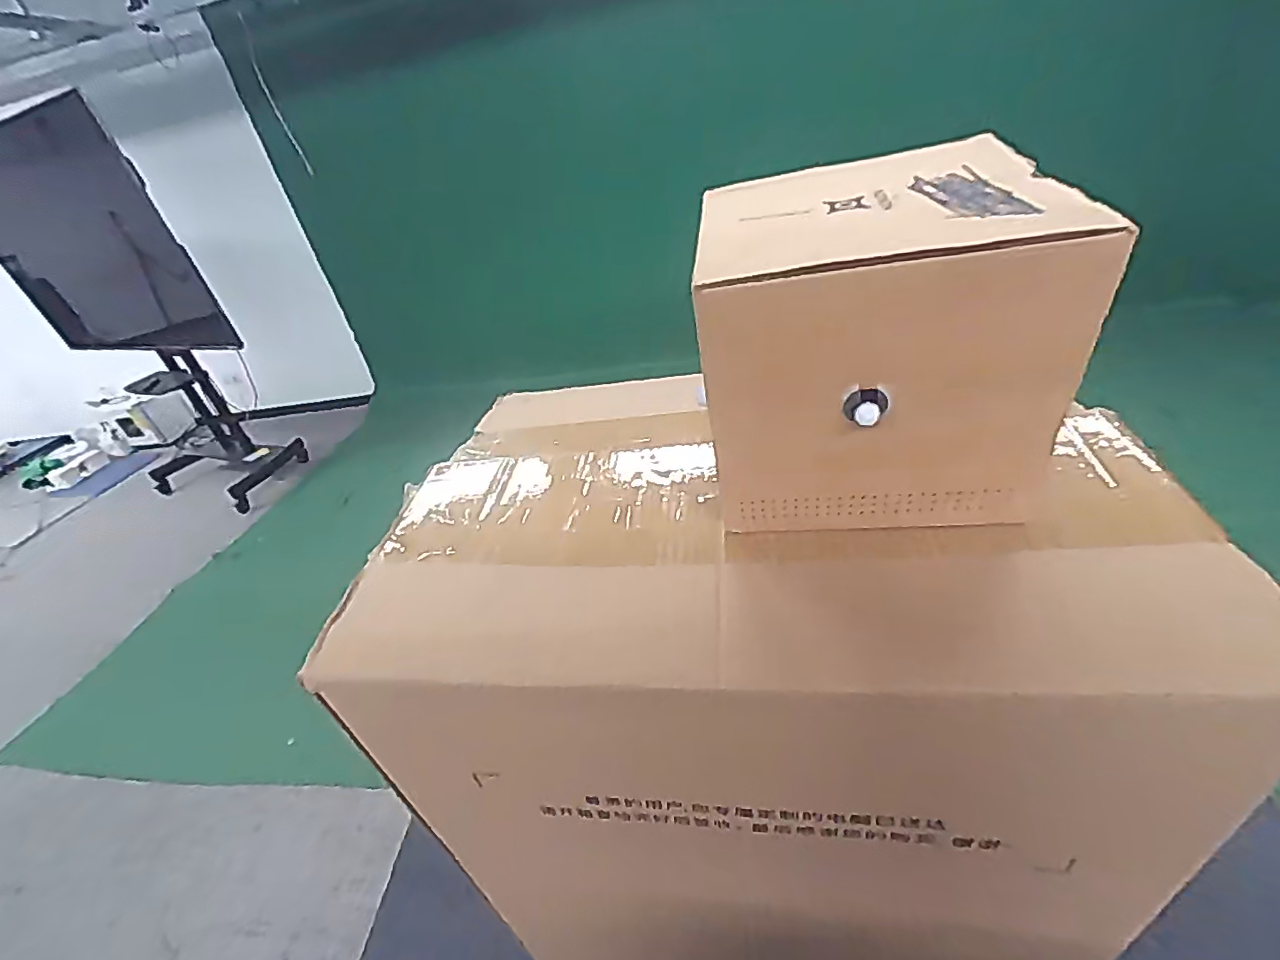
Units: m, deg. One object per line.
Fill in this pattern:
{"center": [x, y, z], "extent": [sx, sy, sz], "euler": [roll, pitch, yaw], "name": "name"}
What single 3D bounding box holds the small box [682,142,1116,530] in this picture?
{"center": [0.130, -0.083, 0.339], "extent": [0.179, 0.176, 0.168], "euler": [-4, 41, 14], "name": "small box"}
